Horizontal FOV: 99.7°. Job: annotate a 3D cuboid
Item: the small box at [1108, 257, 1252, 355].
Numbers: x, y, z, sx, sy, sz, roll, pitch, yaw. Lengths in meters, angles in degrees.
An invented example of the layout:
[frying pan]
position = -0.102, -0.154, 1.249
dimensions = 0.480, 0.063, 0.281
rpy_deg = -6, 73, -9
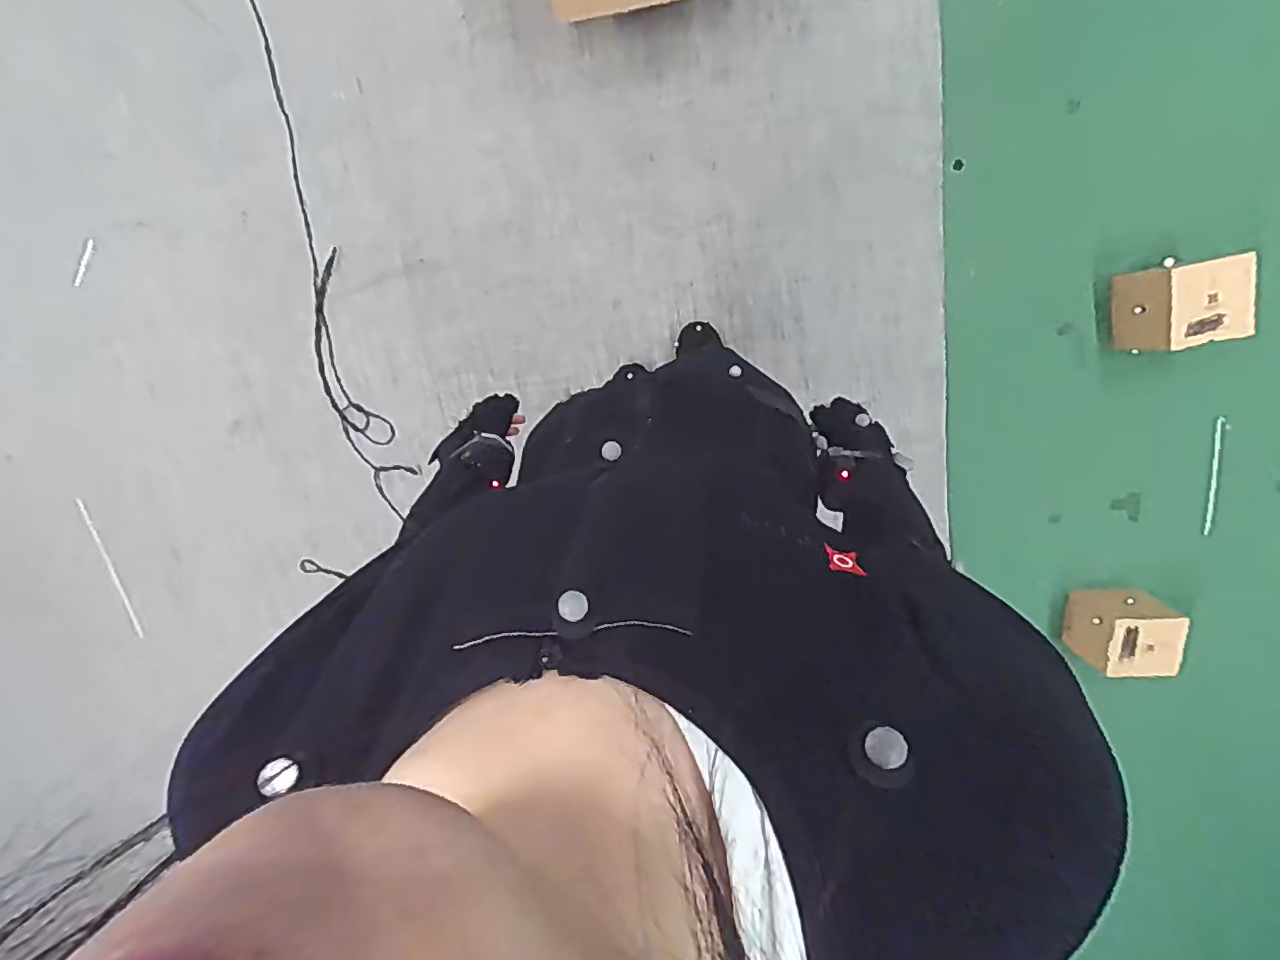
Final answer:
[small box]
position = 1.210, -0.387, 1.226
dimensions = 0.168, 0.176, 0.179
rpy_deg = -11, 103, 6
